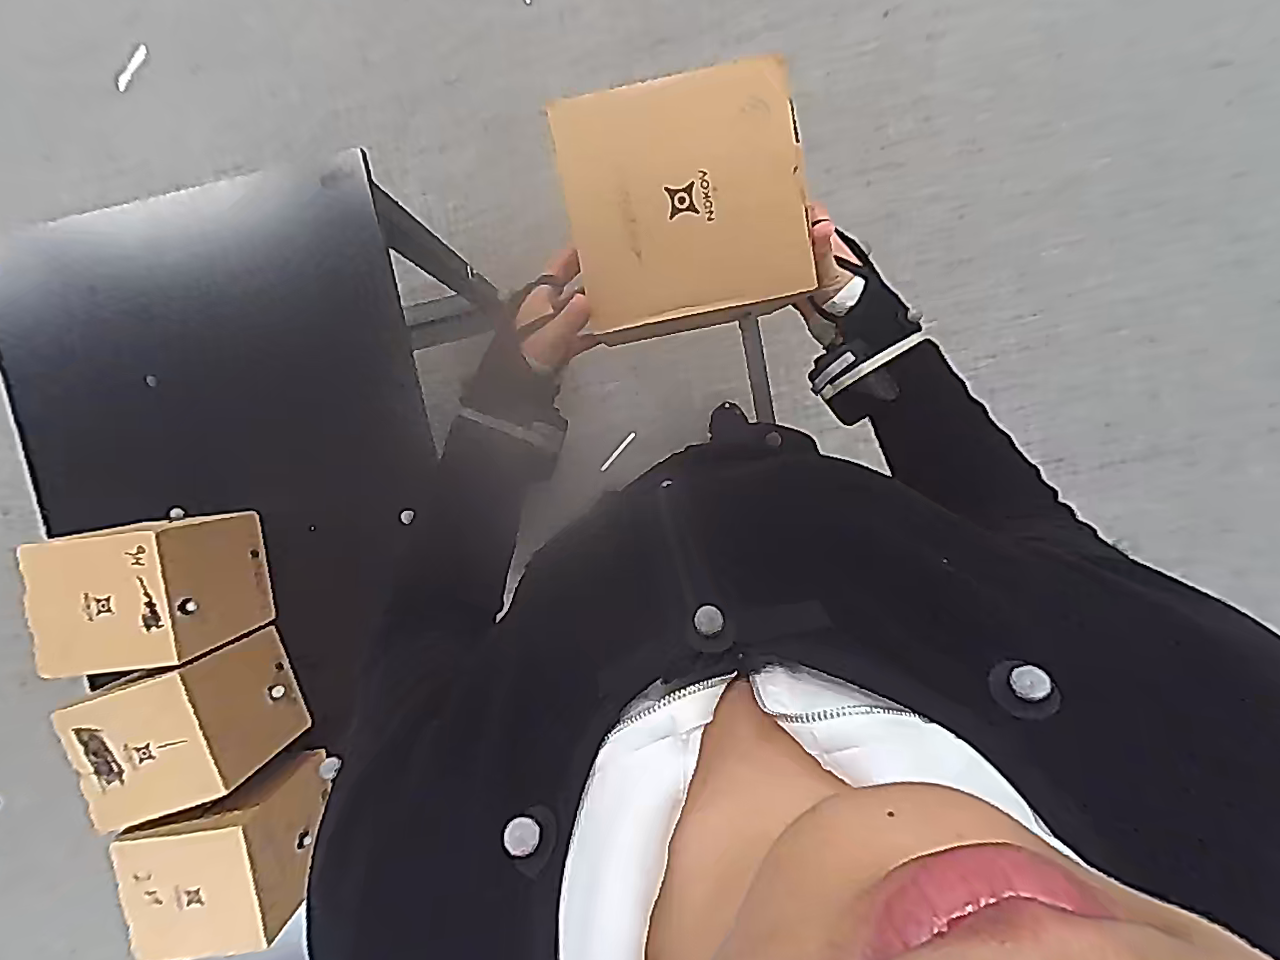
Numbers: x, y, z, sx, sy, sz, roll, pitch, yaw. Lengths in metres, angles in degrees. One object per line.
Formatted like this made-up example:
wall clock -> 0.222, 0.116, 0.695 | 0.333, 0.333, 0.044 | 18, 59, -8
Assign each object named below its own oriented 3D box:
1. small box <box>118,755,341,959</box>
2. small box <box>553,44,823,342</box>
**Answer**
small box -> -0.544, 0.506, 0.747 | 0.179, 0.176, 0.168 | -9, 93, 4
small box -> 0.038, -0.225, 0.474 | 0.179, 0.176, 0.168 | -12, 98, 4
